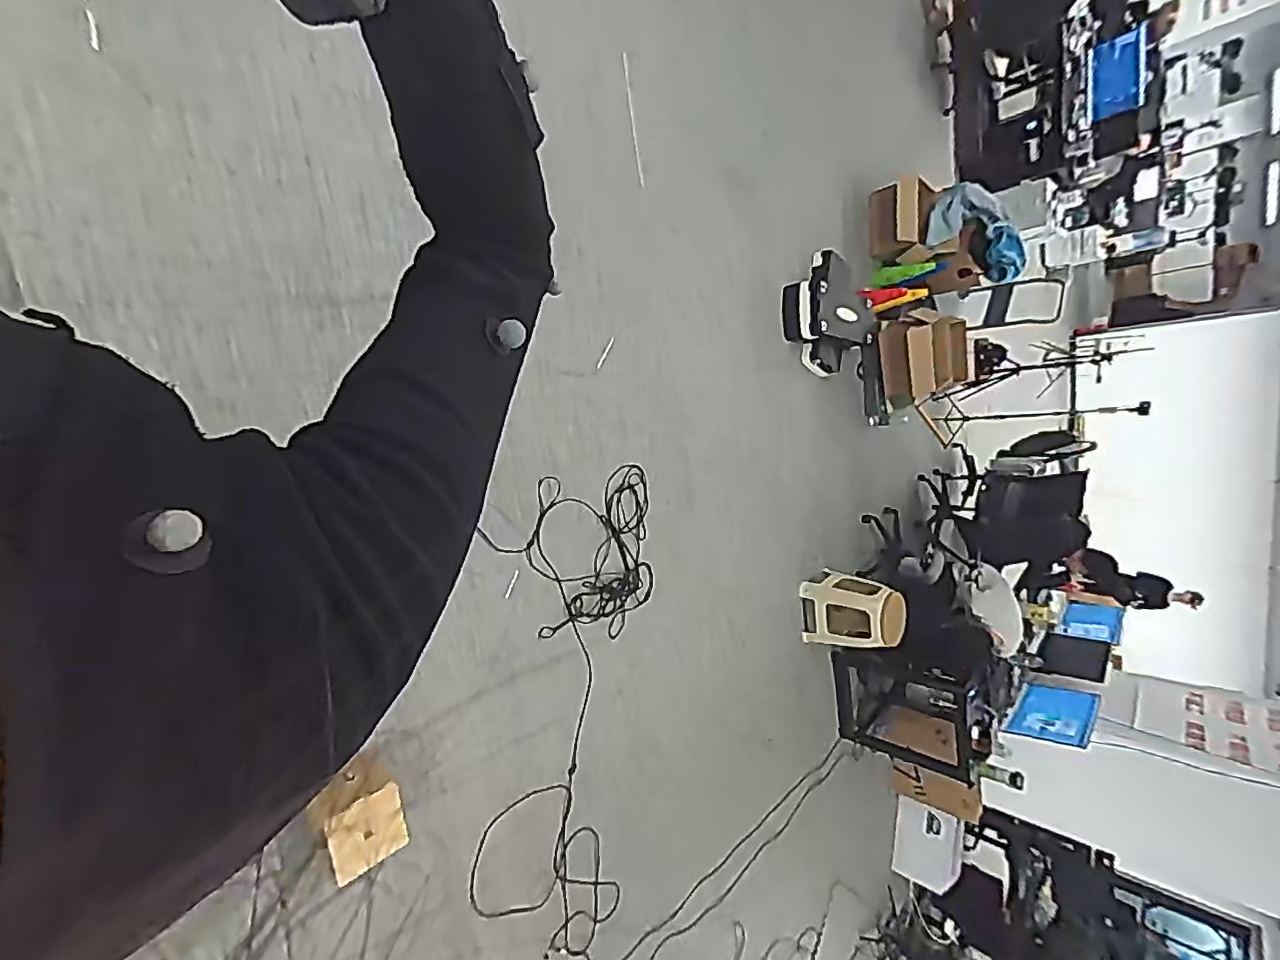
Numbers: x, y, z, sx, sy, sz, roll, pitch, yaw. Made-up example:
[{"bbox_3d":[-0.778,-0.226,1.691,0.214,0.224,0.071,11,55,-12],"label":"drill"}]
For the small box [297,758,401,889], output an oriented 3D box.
[{"bbox_3d":[-0.709,0.823,1.316,0.168,0.176,0.179,-17,102,-44],"label":"small box"}]
